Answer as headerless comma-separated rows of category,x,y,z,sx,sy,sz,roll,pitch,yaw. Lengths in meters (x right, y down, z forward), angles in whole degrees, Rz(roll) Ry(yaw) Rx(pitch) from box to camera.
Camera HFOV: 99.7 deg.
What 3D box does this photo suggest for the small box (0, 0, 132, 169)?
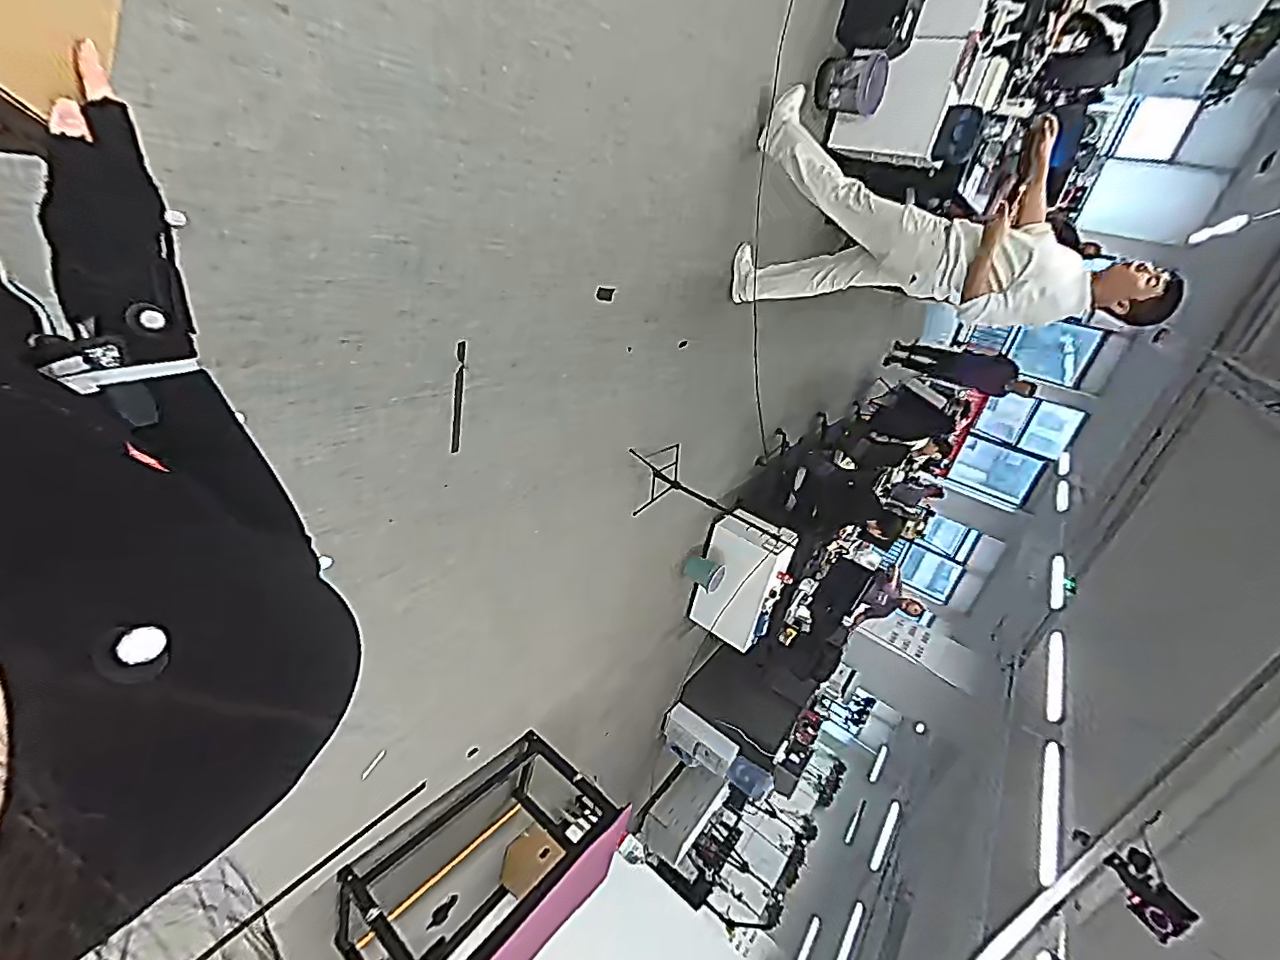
small box,-0.425,-0.301,0.280,0.179,0.168,0.176,128,-35,-83
